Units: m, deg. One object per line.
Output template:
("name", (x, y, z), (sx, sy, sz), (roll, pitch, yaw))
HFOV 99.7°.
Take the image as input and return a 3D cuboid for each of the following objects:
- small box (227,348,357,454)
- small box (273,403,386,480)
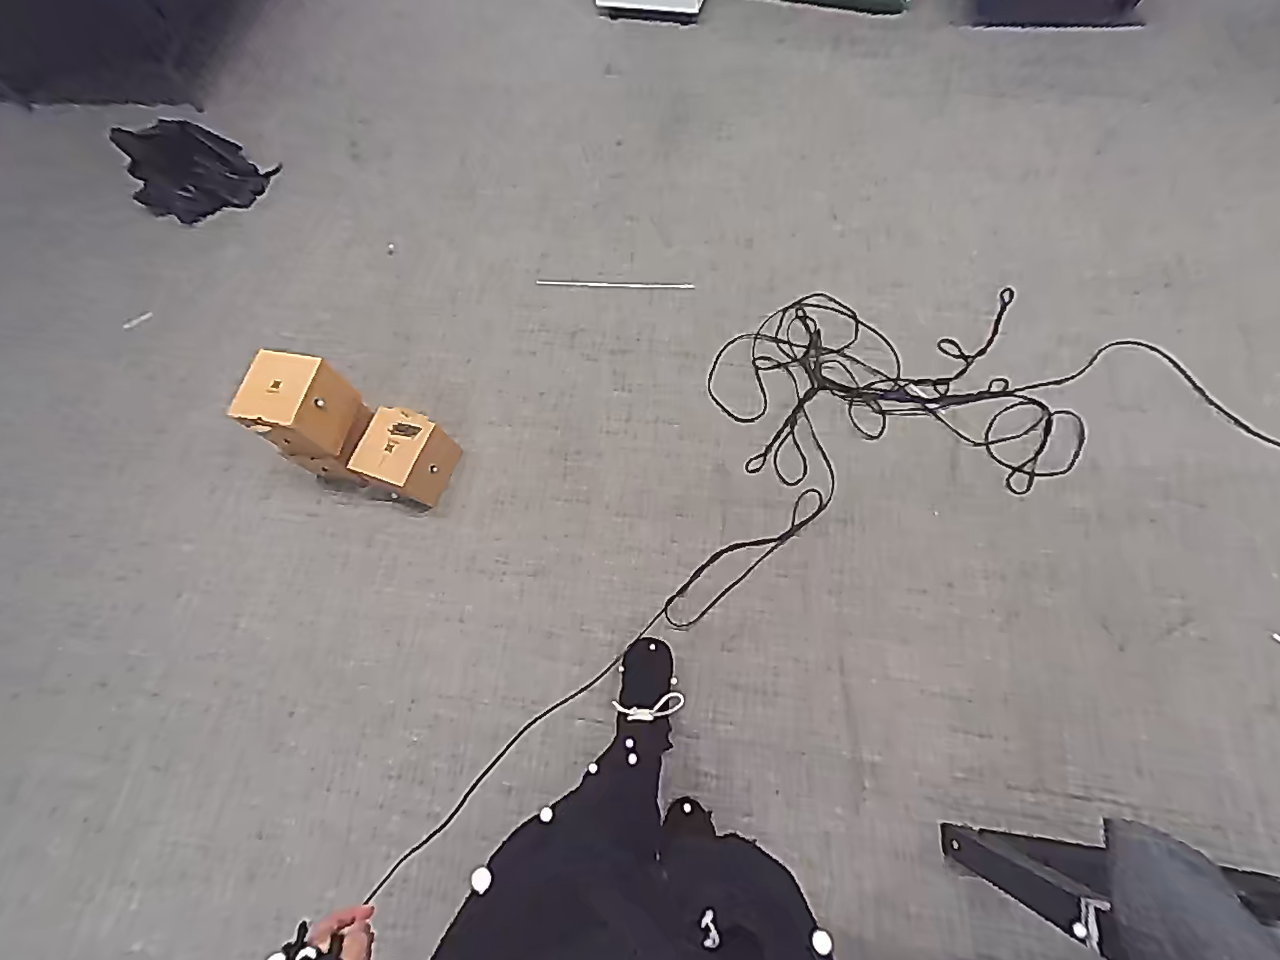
("small box", (-0.803, -0.182, 1.272), (0.168, 0.176, 0.179), (9, 71, 9))
("small box", (-0.802, -0.113, 1.420), (0.168, 0.176, 0.179), (9, 71, 9))
